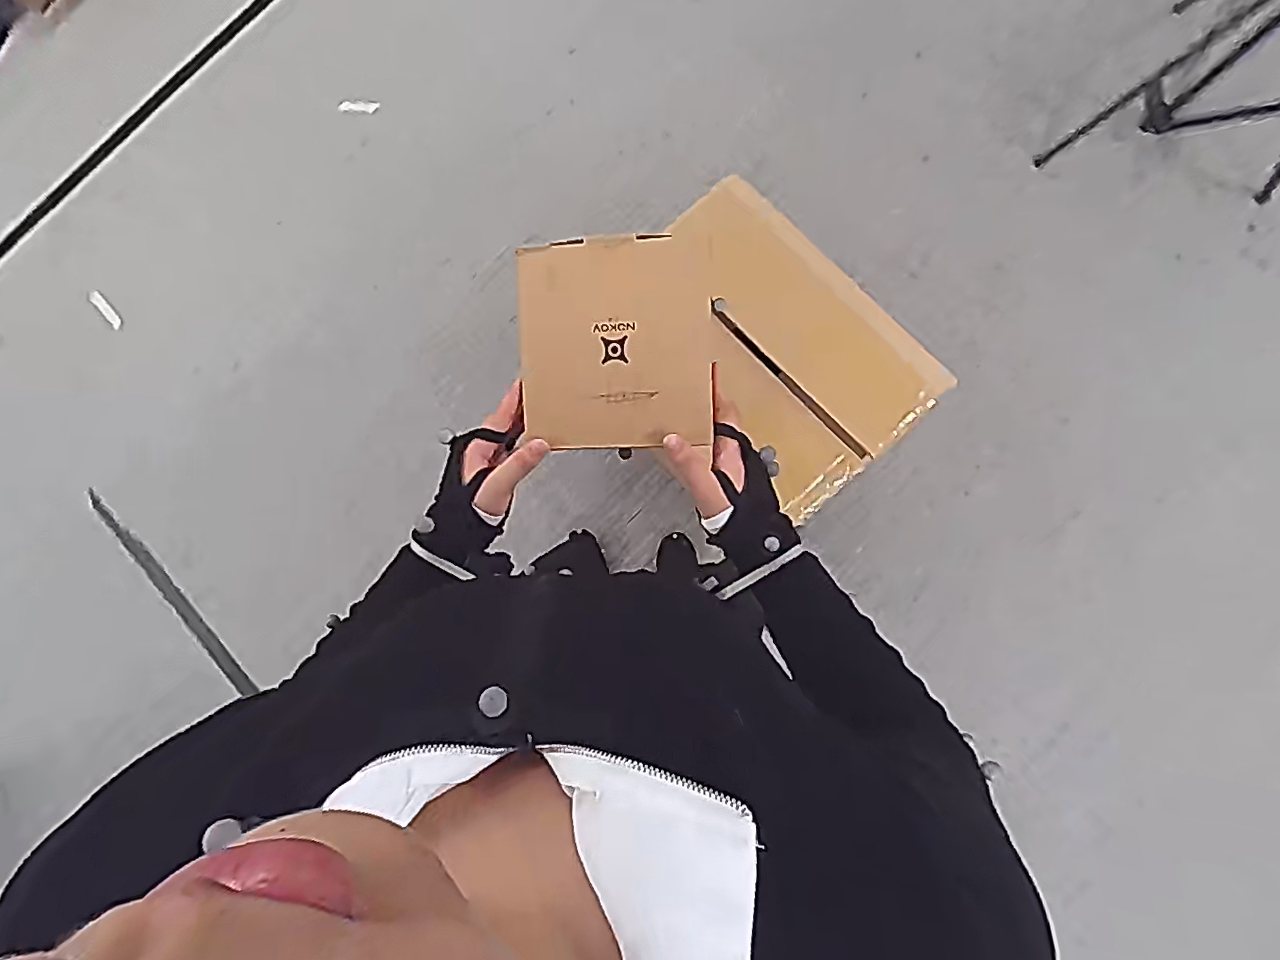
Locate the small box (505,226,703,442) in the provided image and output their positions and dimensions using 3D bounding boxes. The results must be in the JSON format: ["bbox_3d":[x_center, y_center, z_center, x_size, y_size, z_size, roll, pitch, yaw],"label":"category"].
[{"bbox_3d":[-0.024,-0.129,0.538,0.168,0.176,0.179,-2,97,6],"label":"small box"}]
